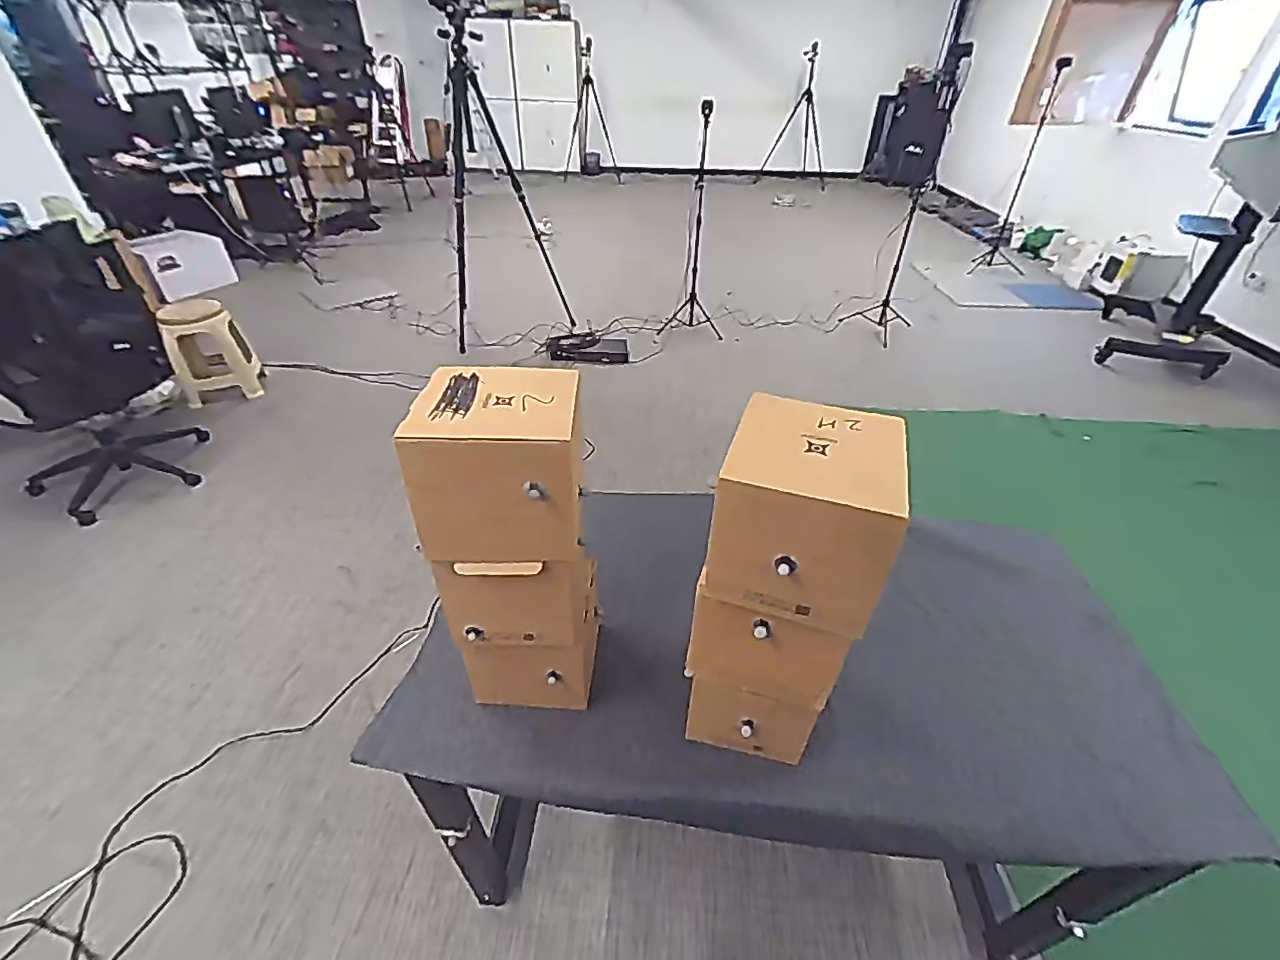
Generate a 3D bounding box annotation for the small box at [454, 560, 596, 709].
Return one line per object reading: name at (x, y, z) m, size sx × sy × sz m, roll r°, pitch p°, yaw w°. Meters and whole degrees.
small box at (-0.164, 0.239, 0.846) m, size 0.179 × 0.176 × 0.168 m, roll 1°, pitch 36°, yaw 2°

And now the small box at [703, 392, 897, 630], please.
small box at (0.167, 0.030, 0.580) m, size 0.168 × 0.176 × 0.179 m, roll 12°, pitch 39°, yaw 16°

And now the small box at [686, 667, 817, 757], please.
small box at (0.163, 0.276, 0.798) m, size 0.168 × 0.176 × 0.179 m, roll 8°, pitch 39°, yaw 10°

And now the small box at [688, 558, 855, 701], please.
small box at (0.166, 0.153, 0.691) m, size 0.179 × 0.176 × 0.168 m, roll 11°, pitch 39°, yaw 15°

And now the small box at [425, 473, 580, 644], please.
small box at (-0.173, 0.108, 0.745) m, size 0.168 × 0.176 × 0.179 m, roll 0°, pitch 35°, yaw -2°
